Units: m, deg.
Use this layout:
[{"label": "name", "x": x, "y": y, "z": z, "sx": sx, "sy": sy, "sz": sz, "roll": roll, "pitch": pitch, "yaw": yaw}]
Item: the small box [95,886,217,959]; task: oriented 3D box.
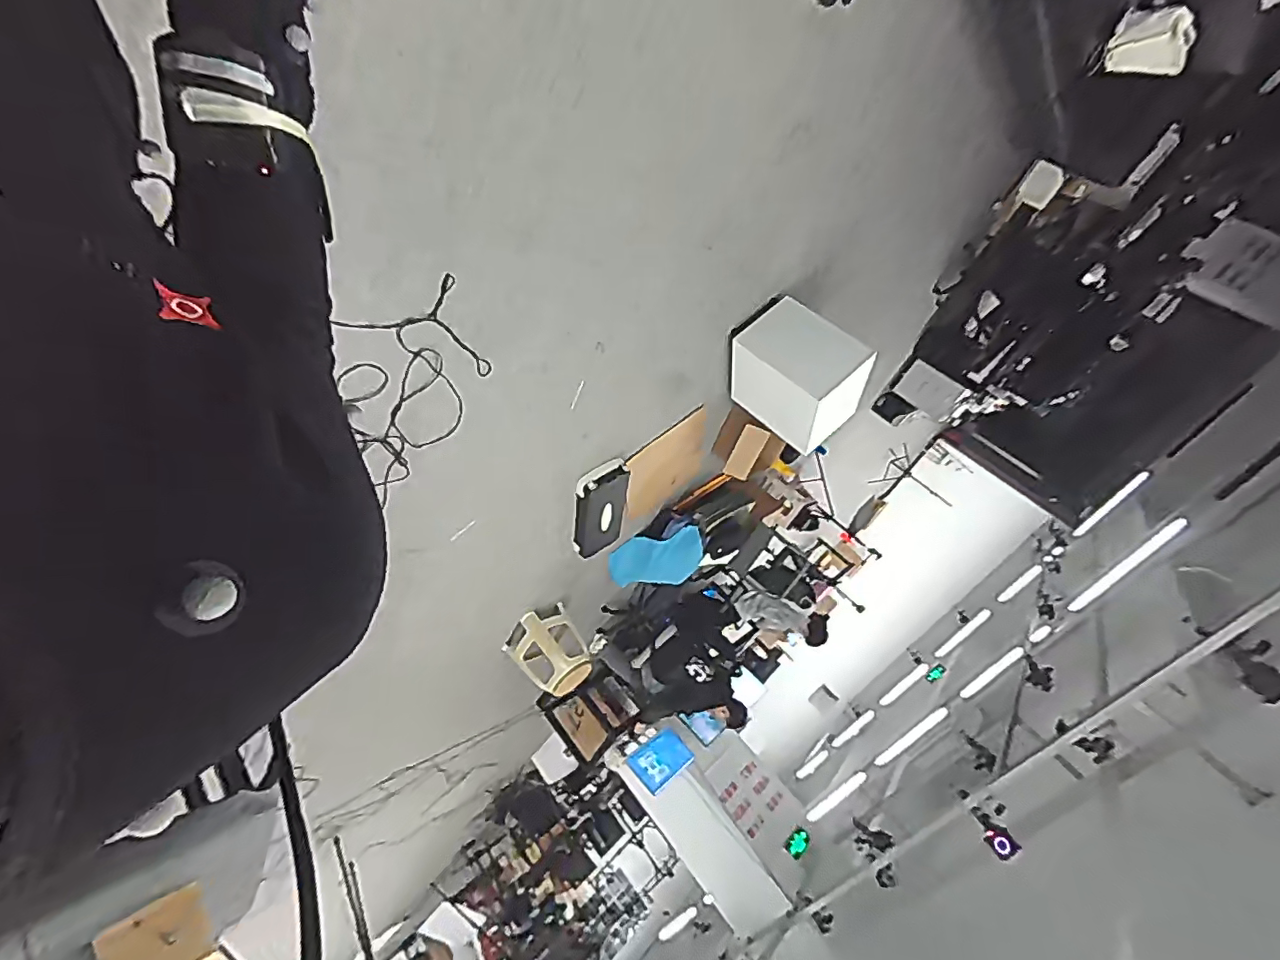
[{"label": "small box", "x": -1.046, "y": 1.033, "z": 1.170, "sx": 0.168, "sy": 0.176, "sz": 0.179, "roll": -13, "pitch": 141, "yaw": -50}]
